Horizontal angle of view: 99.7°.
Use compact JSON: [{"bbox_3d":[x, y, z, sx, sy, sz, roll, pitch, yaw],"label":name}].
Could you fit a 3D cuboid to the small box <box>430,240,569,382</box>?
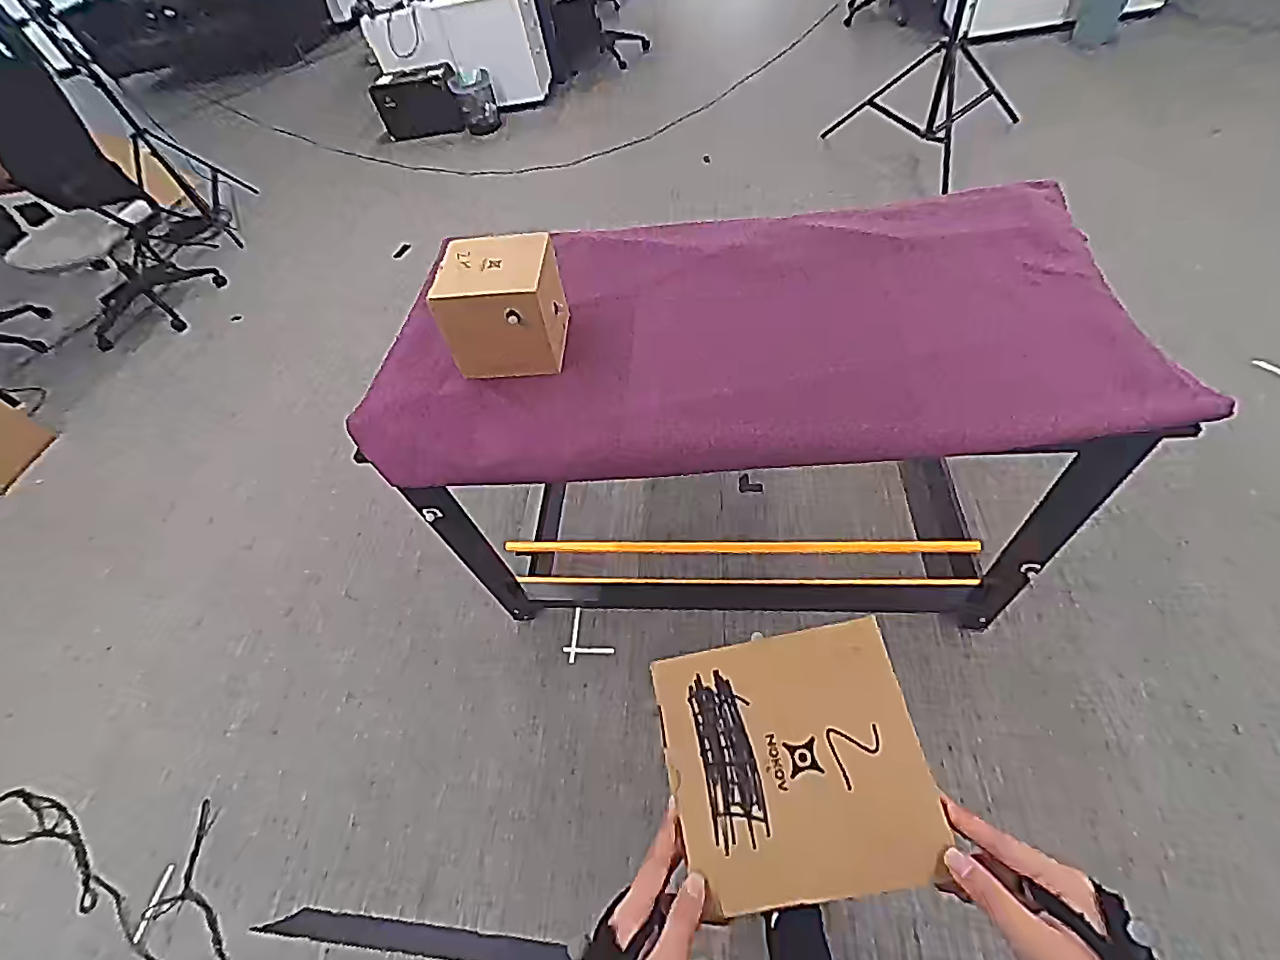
[{"bbox_3d":[-0.227,-0.286,0.933,0.179,0.176,0.168,-2,53,6],"label":"small box"}]
